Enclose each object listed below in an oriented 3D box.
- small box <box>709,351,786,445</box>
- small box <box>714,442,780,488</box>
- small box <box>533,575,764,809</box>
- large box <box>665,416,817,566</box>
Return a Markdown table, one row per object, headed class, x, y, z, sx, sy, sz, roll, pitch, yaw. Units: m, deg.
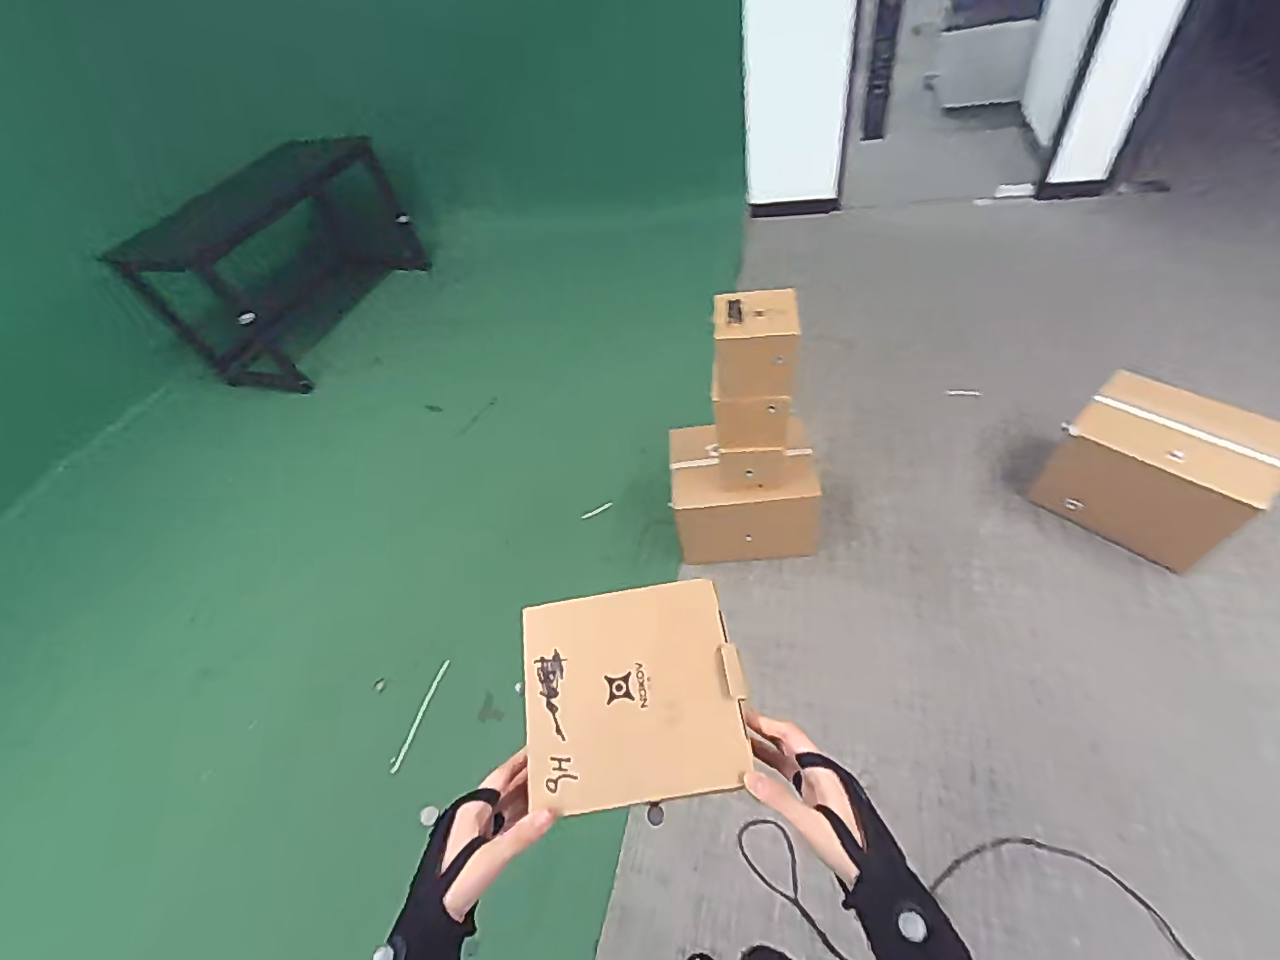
| class | x | y | z | sx | sy | sz | roll | pitch | yaw |
| --- | --- | --- | --- | --- | --- | --- | --- | --- | --- |
| small box | 0.267 | -0.198 | 1.341 | 0.179 | 0.176 | 0.168 | 0 | 51 | 11 |
| small box | 0.288 | -0.091 | 1.461 | 0.168 | 0.176 | 0.179 | -1 | 51 | 10 |
| small box | 0.003 | 0.204 | 0.509 | 0.179 | 0.176 | 0.168 | -7 | 58 | -1 |
| large box | 0.303 | 0.043 | 1.671 | 0.408 | 0.320 | 0.320 | -7 | 49 | 8 |
